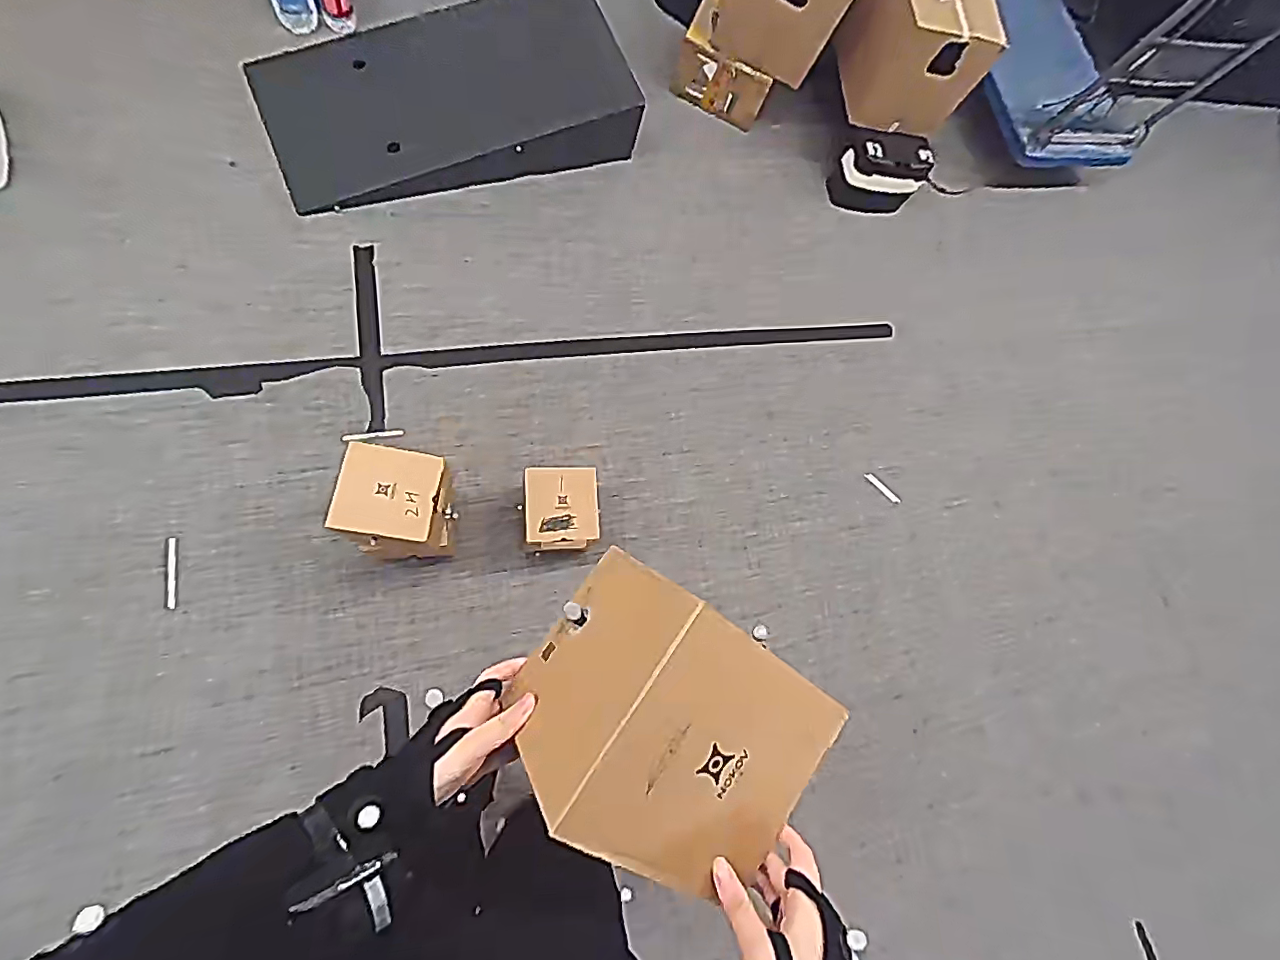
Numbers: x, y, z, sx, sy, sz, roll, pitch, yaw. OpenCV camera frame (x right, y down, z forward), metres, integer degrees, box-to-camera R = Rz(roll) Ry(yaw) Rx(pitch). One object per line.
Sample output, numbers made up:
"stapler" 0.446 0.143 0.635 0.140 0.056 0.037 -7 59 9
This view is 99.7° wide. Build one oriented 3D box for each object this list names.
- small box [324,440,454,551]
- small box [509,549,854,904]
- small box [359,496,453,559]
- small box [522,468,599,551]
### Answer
"small box" -0.475 0.039 1.054 0.179 0.176 0.168 11 74 -11
"small box" 0.023 0.176 0.433 0.179 0.176 0.168 41 79 -24
"small box" -0.514 0.083 1.209 0.179 0.176 0.168 -1 76 -16
"small box" -0.193 0.076 1.296 0.168 0.176 0.179 0 75 -15
